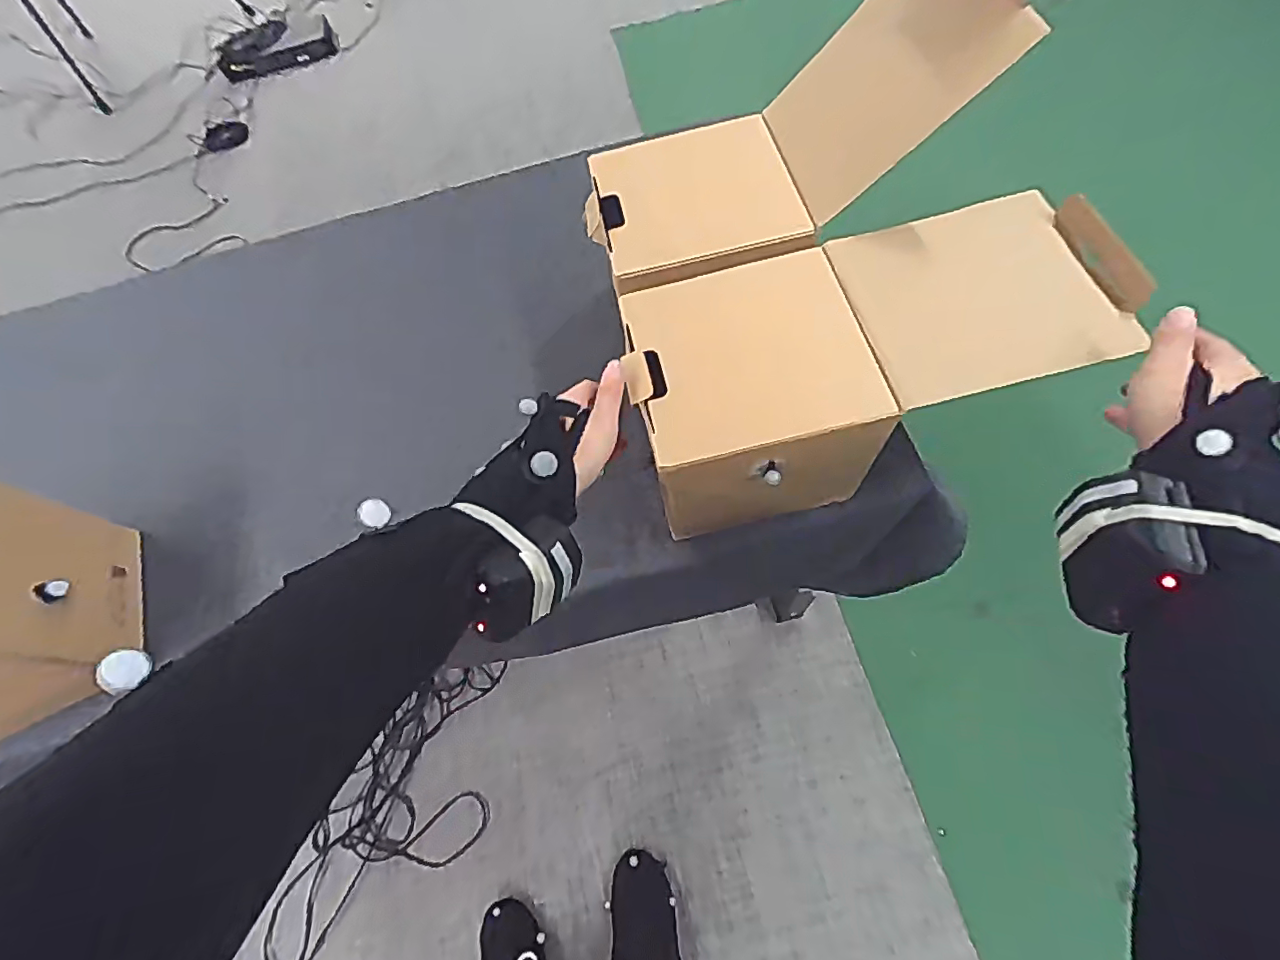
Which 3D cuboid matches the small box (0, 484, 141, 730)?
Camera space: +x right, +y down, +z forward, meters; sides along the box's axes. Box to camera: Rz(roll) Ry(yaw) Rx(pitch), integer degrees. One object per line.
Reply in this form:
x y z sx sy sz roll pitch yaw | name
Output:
-0.603 0.117 0.487 0.179 0.176 0.168 -26 64 -4 | small box
